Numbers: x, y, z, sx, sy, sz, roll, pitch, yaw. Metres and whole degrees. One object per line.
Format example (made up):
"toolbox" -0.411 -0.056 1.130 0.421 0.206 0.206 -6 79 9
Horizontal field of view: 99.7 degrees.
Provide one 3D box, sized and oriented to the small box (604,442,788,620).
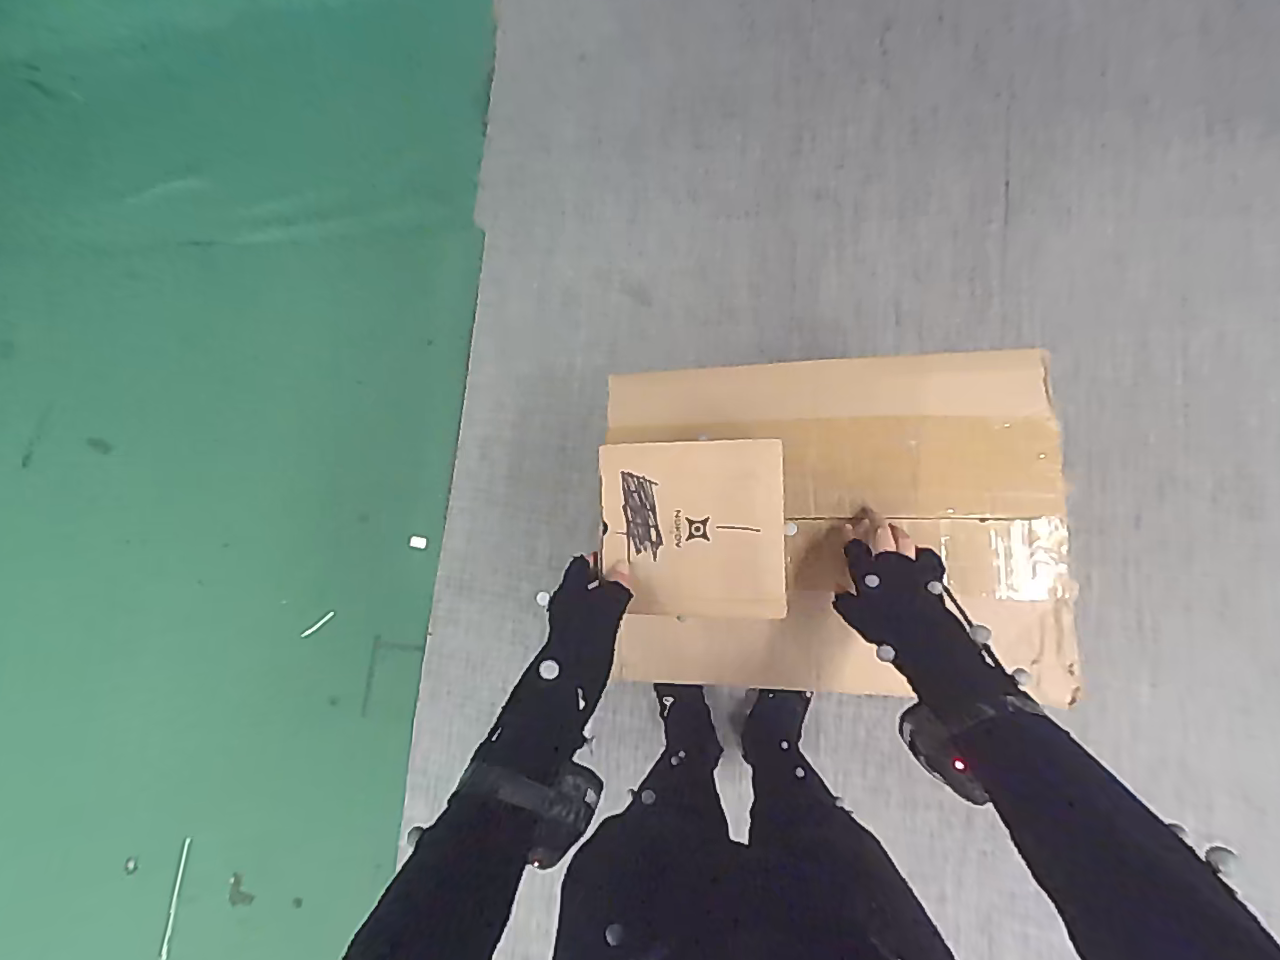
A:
"small box" 0.067 0.051 0.588 0.179 0.176 0.168 -1 87 12
